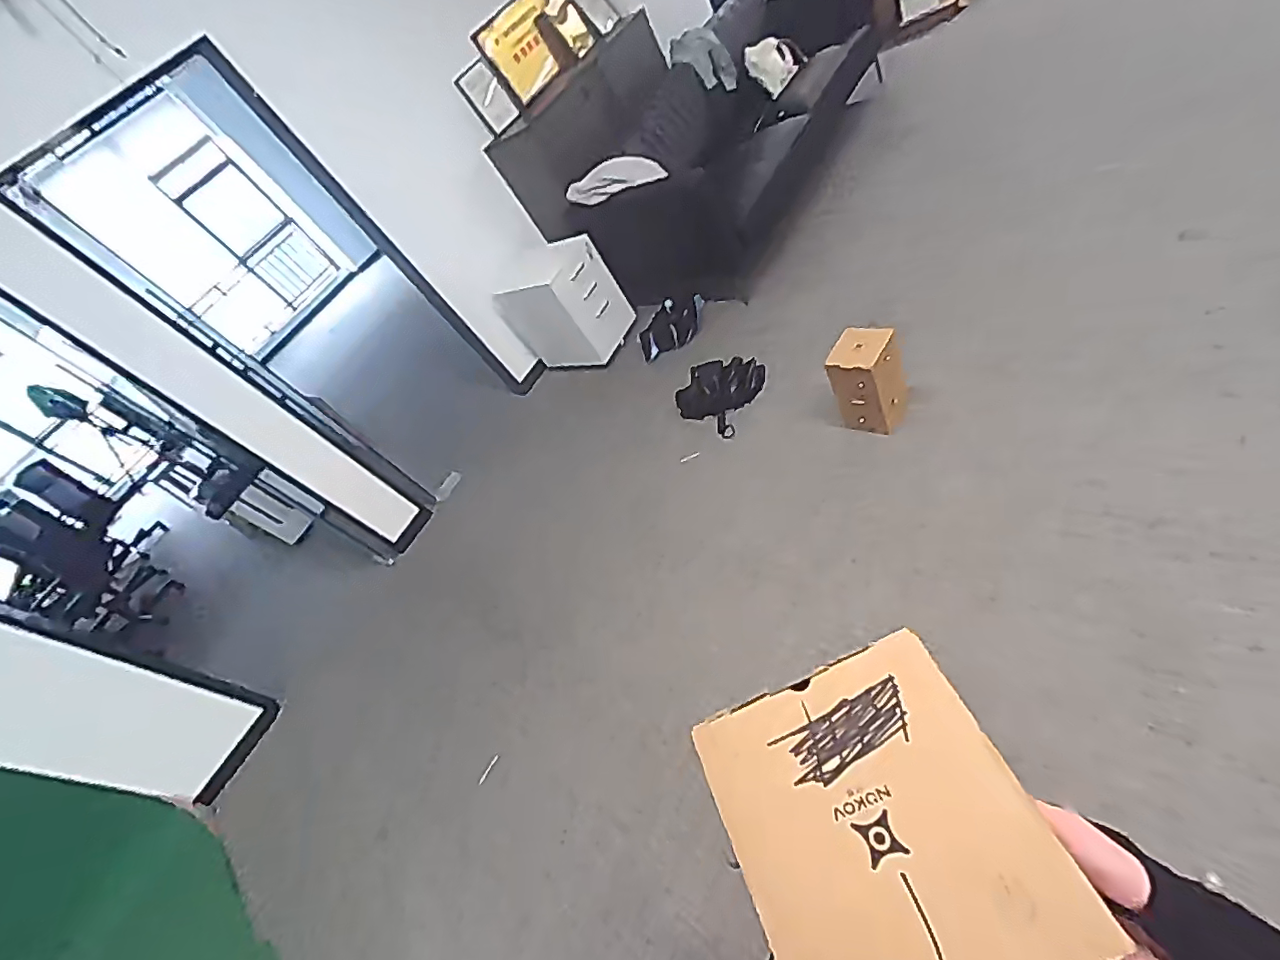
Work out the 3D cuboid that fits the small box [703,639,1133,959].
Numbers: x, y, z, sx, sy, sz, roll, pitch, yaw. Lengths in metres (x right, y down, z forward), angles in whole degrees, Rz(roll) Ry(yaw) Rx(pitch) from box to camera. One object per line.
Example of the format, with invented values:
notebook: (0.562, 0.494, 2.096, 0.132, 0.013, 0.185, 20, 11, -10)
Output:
small box: (0.164, 0.245, 0.379, 0.168, 0.176, 0.179, -26, 53, 4)
